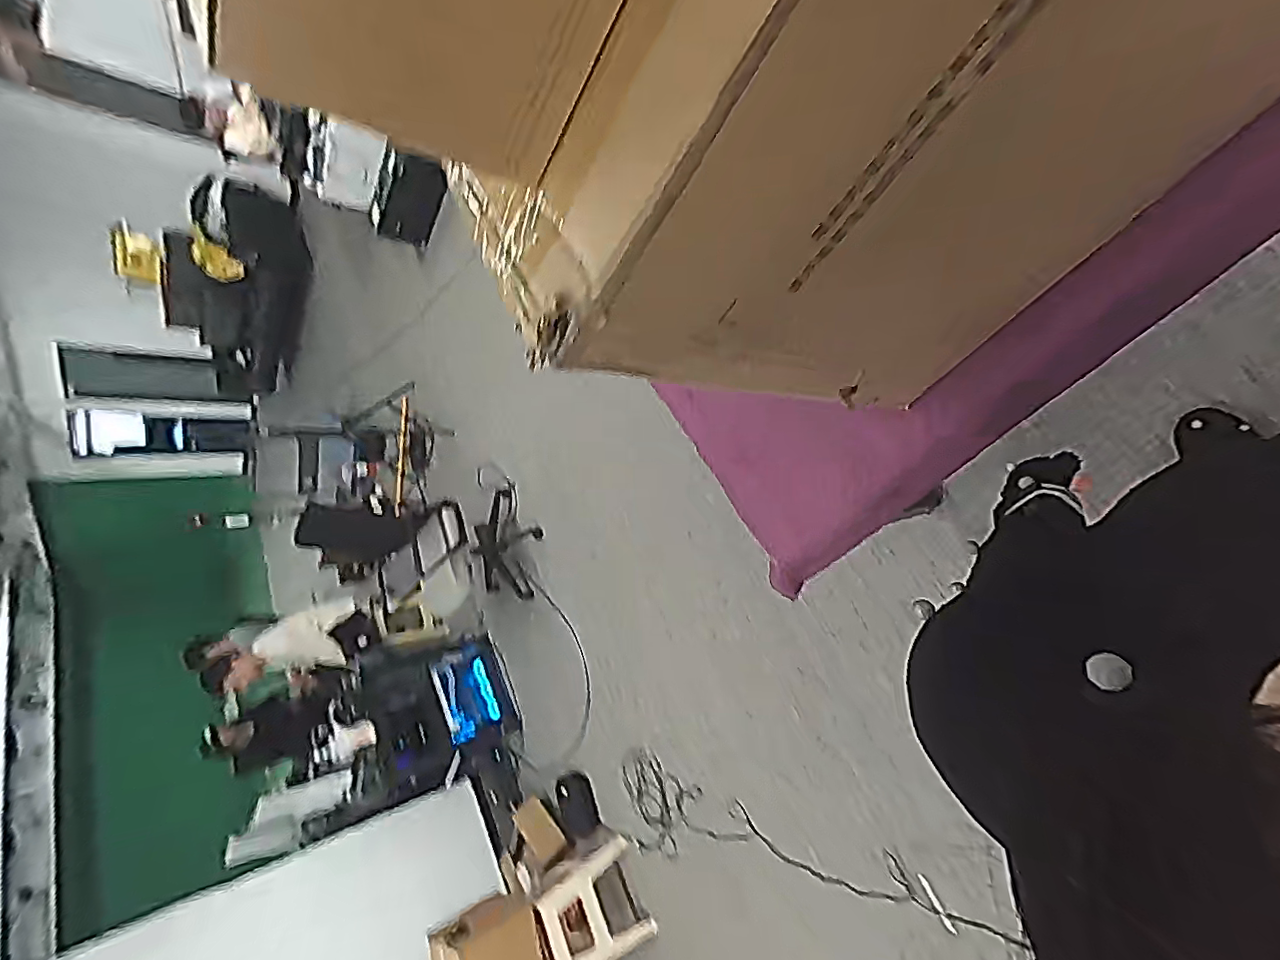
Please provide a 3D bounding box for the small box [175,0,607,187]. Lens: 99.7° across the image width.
[{"bbox_3d":[-0.121,-0.290,0.267,0.179,0.176,0.168,-50,58,37],"label":"small box"}]
